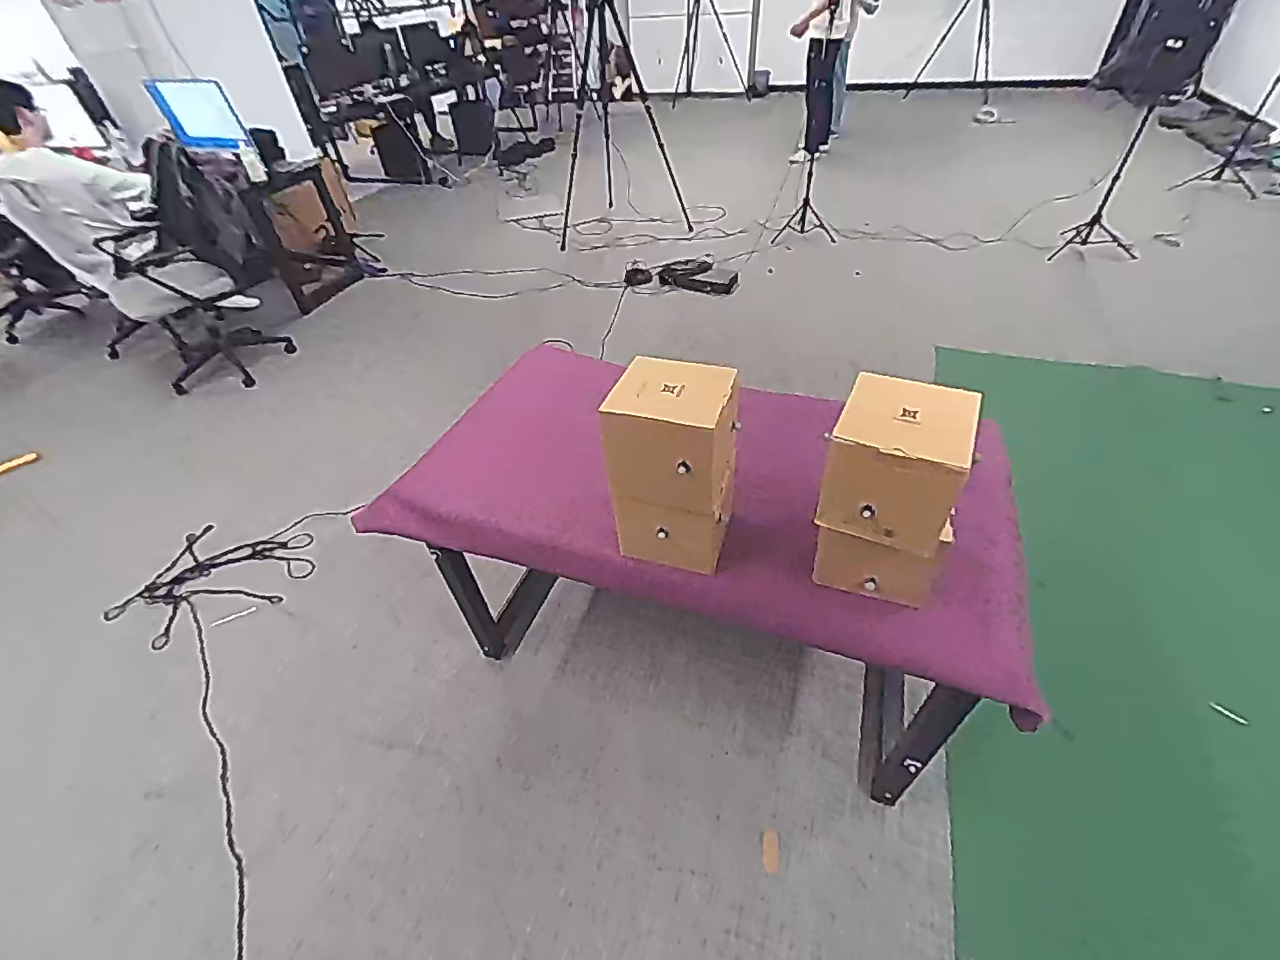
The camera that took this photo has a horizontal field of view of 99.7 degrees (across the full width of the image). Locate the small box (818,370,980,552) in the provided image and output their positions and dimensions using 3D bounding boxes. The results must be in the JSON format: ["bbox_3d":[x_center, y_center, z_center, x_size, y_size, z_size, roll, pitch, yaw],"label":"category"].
[{"bbox_3d":[0.366,-0.030,0.780,0.168,0.176,0.179,17,47,24],"label":"small box"}]

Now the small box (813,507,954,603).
[{"bbox_3d":[0.398,0.080,0.898,0.179,0.176,0.168,11,44,17],"label":"small box"}]

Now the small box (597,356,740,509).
[{"bbox_3d":[0.052,-0.075,0.861,0.179,0.176,0.168,11,43,18],"label":"small box"}]
